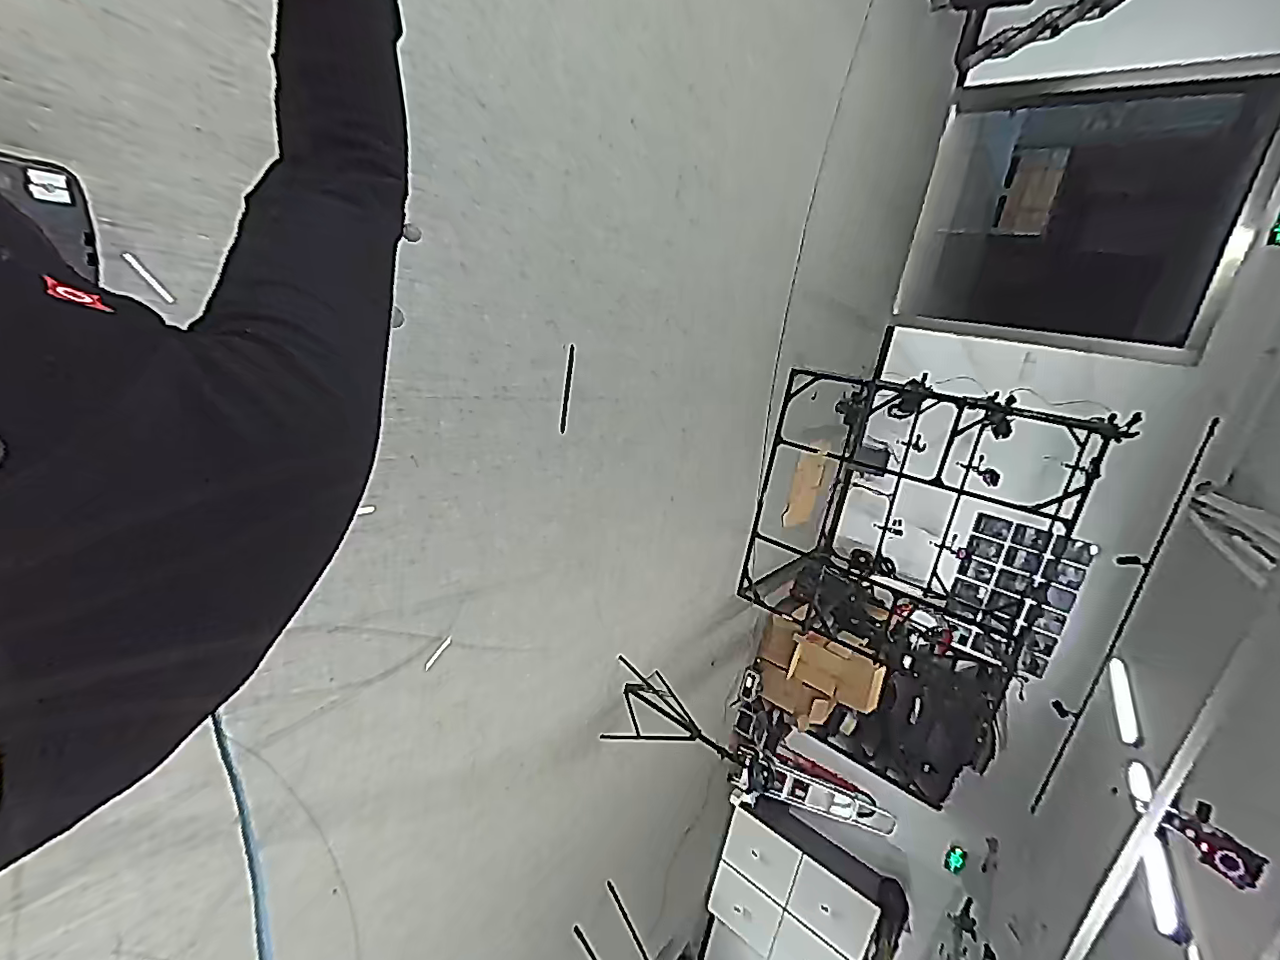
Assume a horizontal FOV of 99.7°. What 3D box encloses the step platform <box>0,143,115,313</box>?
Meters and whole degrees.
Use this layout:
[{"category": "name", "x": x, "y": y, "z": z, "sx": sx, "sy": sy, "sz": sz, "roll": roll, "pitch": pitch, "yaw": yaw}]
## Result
[{"category": "step platform", "x": -1.293, "y": -0.439, "z": 0.842, "sx": 0.684, "sy": 0.204, "sz": 0.286, "roll": -14, "pitch": 119, "yaw": -52}]
